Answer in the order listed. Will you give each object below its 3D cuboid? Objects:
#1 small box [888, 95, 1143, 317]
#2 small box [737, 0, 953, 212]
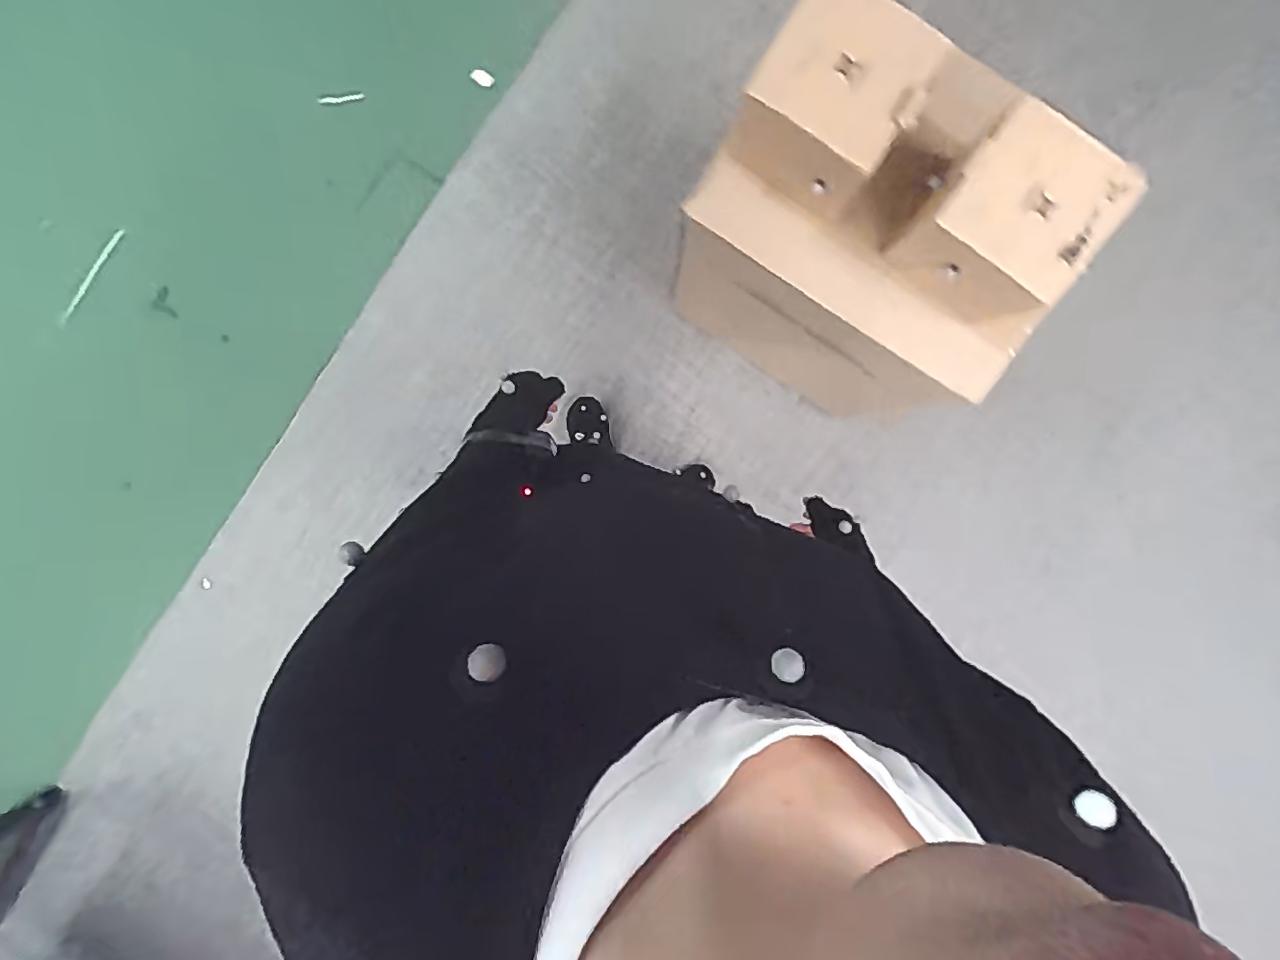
[{"bbox_3d":[0.464,-0.334,0.704,0.179,0.176,0.168,36,99,-1],"label":"small box"},{"bbox_3d":[0.246,-0.480,0.700,0.179,0.176,0.168,33,97,0],"label":"small box"}]
